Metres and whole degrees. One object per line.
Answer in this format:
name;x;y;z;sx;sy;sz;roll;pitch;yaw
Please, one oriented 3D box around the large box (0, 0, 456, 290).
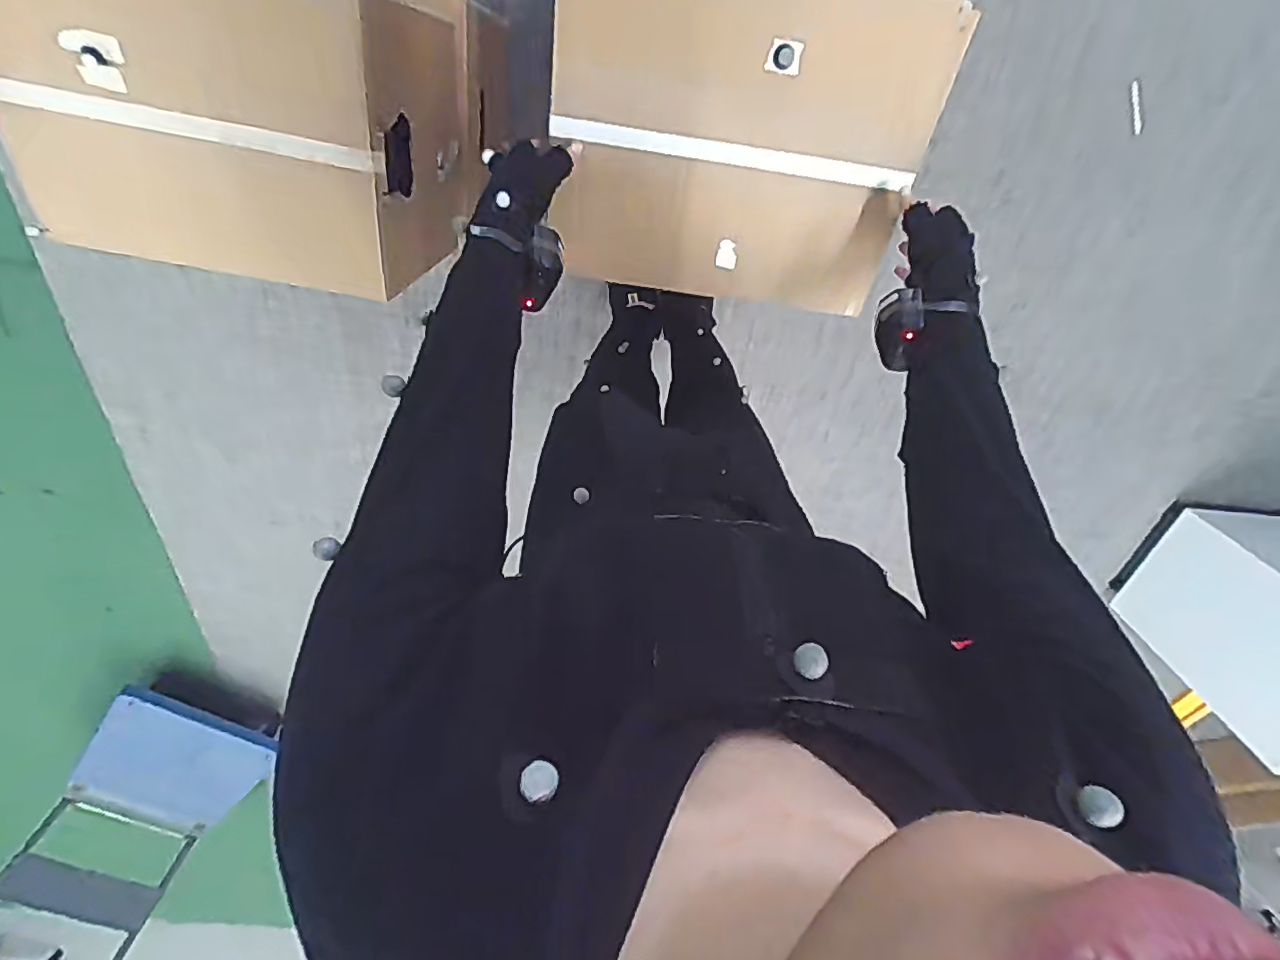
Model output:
large box;-0.487;-0.478;0.700;0.408;0.320;0.320;10;125;-5
